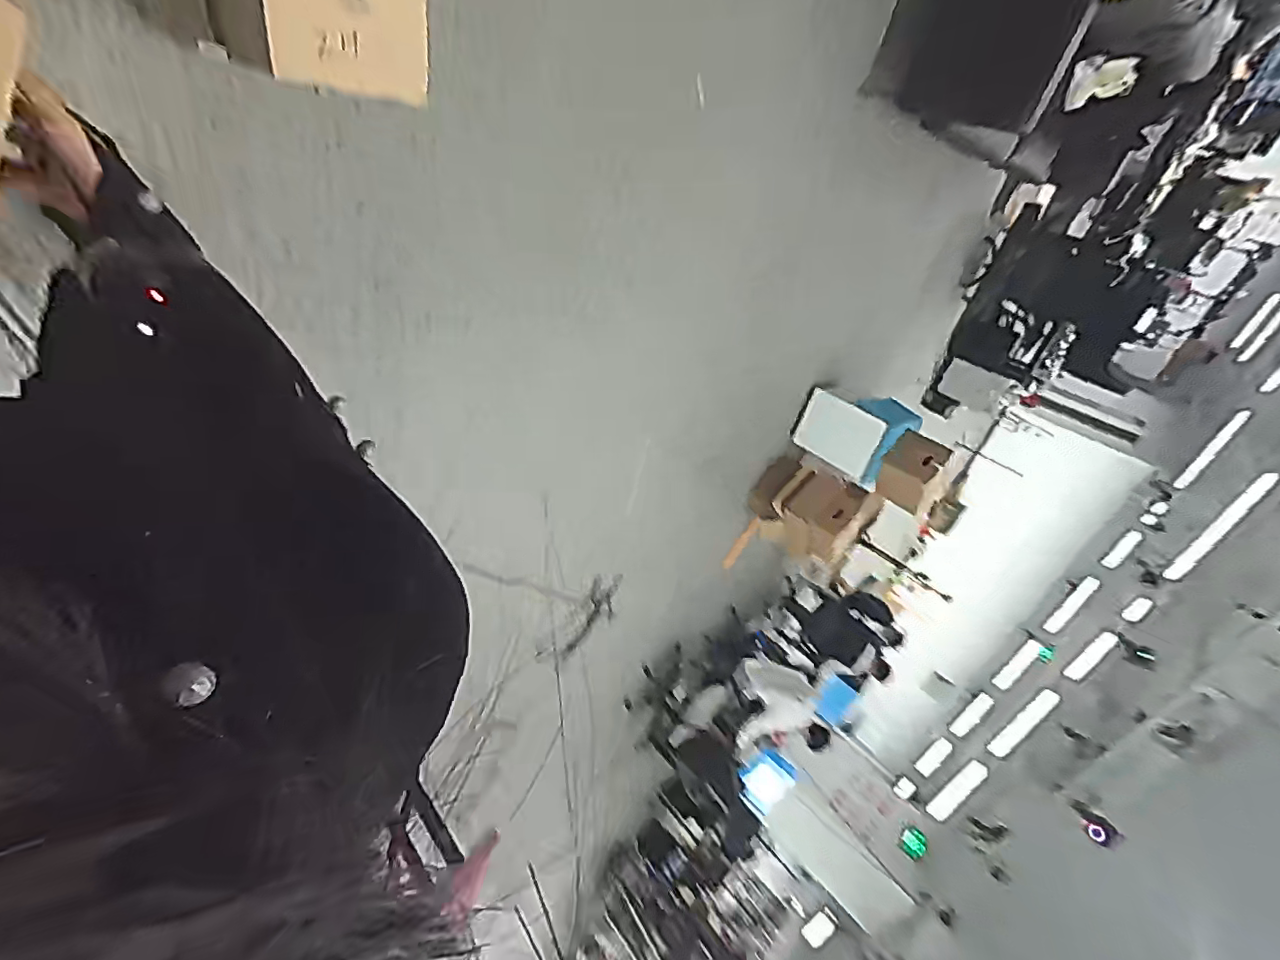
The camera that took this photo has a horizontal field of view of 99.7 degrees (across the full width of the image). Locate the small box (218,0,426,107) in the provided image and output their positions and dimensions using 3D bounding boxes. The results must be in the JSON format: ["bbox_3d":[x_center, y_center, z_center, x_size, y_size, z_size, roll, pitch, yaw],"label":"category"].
[{"bbox_3d":[-0.353,-0.540,0.595,0.168,0.176,0.179,-19,135,-41],"label":"small box"}]

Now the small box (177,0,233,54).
[{"bbox_3d":[-0.467,-0.623,0.679,0.179,0.176,0.168,-20,135,-43],"label":"small box"}]

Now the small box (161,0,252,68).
[{"bbox_3d":[-0.575,-0.704,0.774,0.168,0.176,0.179,-20,136,-42],"label":"small box"}]
